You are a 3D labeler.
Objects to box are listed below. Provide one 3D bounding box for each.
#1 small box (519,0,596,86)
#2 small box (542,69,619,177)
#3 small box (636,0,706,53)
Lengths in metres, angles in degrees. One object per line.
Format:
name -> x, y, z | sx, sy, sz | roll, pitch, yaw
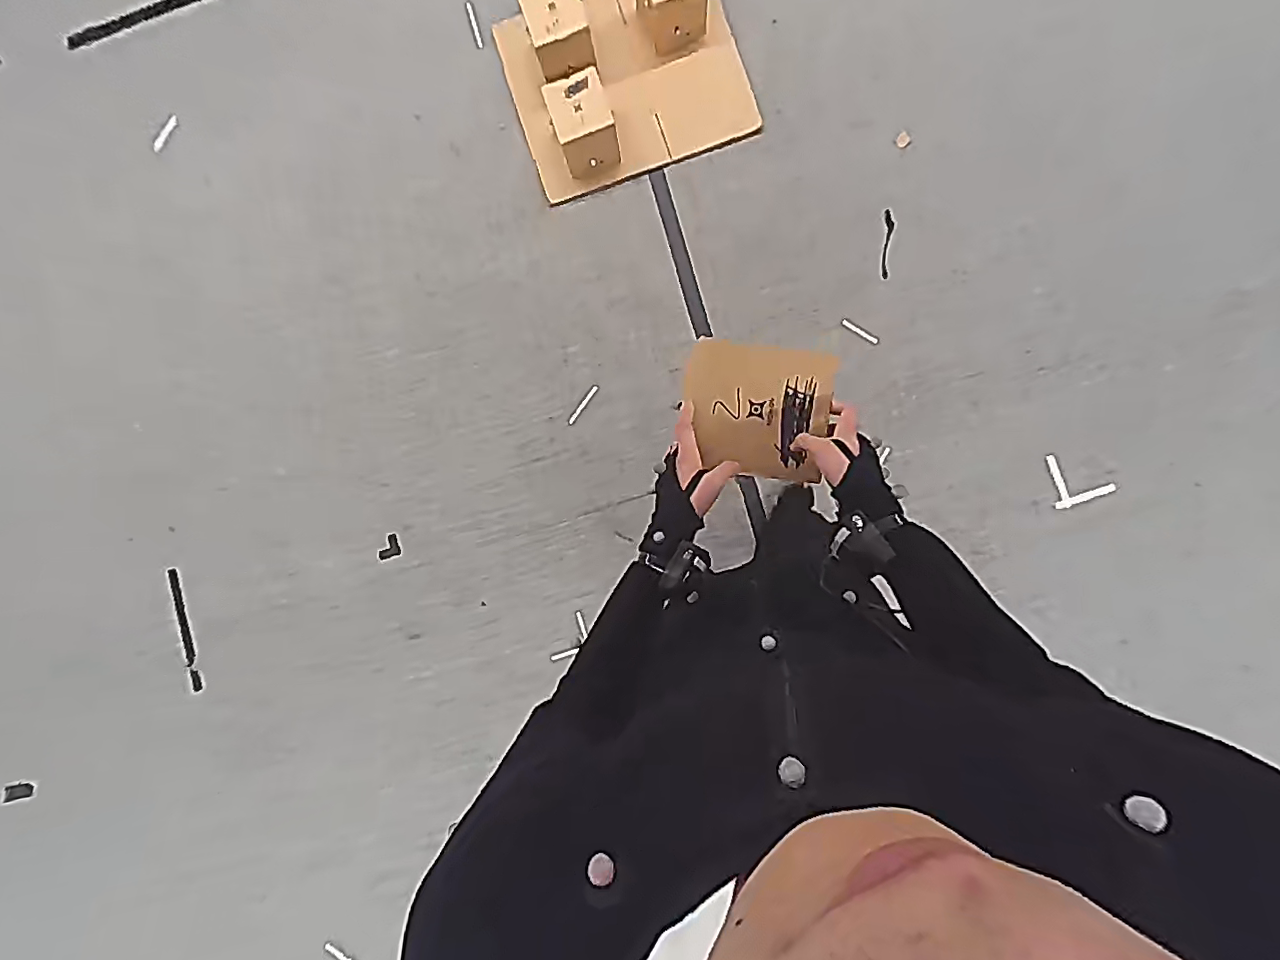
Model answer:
small box -> -0.241, -1.315, 1.598 | 0.168, 0.176, 0.179 | -19, 87, 4
small box -> -0.170, -1.039, 1.587 | 0.168, 0.176, 0.179 | -20, 88, 4
small box -> 0.086, -1.420, 1.585 | 0.168, 0.176, 0.179 | -22, 87, 3
